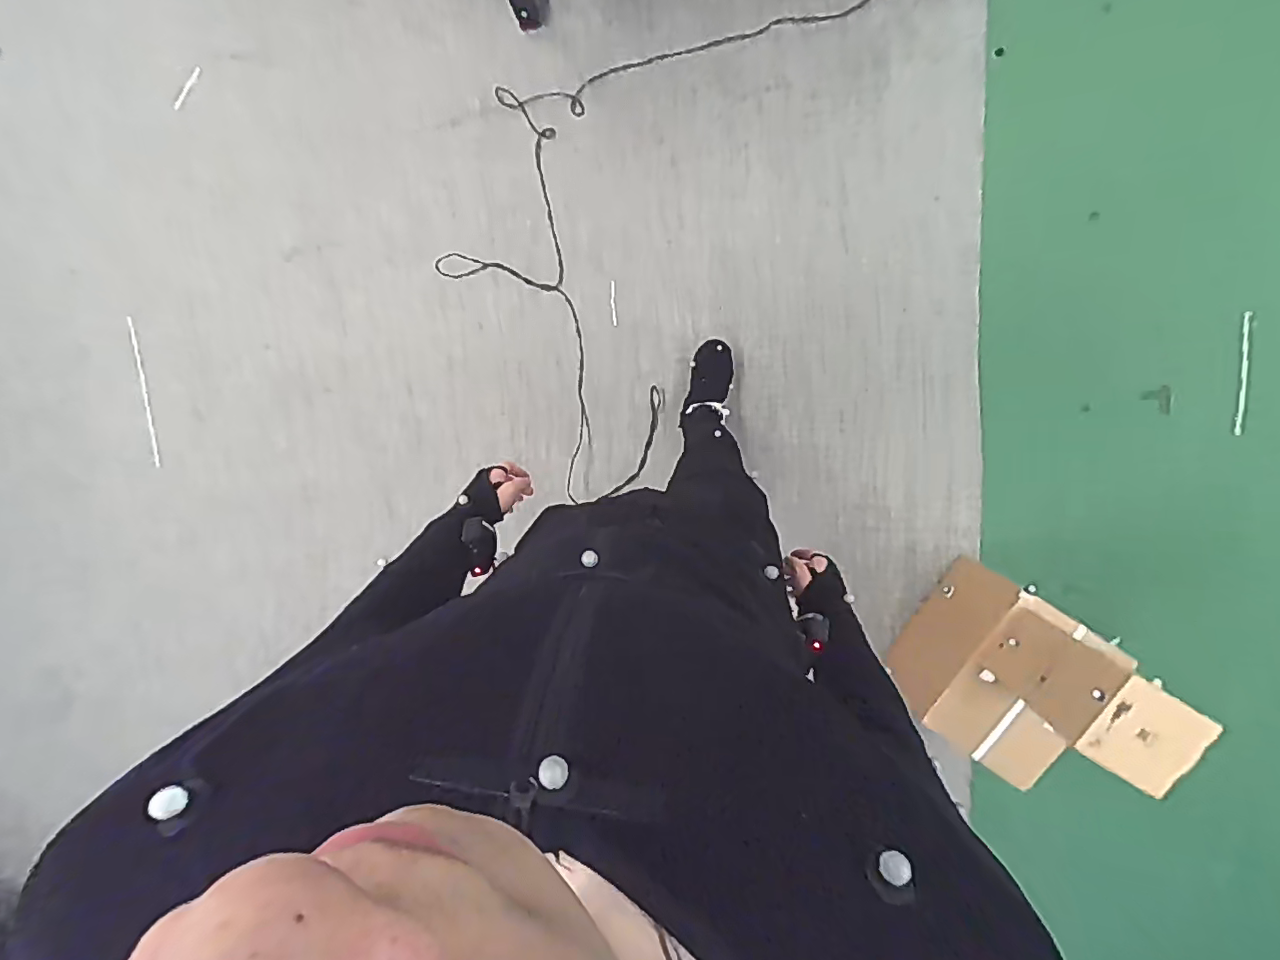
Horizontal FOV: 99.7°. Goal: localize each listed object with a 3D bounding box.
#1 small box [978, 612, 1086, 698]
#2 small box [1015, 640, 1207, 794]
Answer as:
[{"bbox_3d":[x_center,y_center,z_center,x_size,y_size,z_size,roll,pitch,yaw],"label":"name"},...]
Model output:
[{"bbox_3d":[0.900,0.419,1.187,0.179,0.176,0.168,32,99,1],"label":"small box"},{"bbox_3d":[0.875,0.436,1.025,0.179,0.176,0.168,31,100,0],"label":"small box"}]
